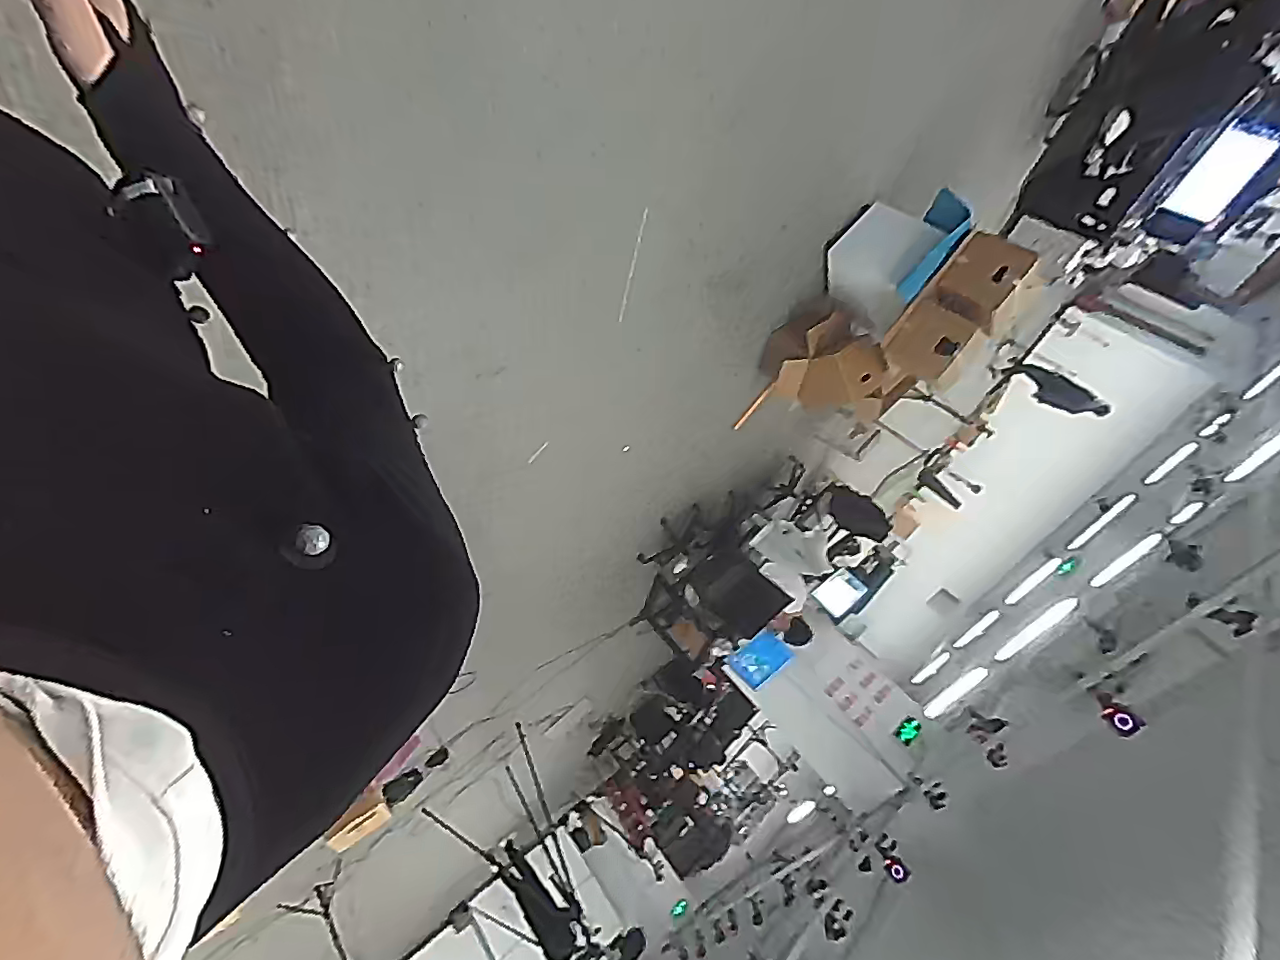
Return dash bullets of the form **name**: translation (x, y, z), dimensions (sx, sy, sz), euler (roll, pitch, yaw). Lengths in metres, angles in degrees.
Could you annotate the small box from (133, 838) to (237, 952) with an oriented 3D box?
- **small box**: translation (-1.230, 1.118, 1.465), dimensions (0.168, 0.176, 0.179), euler (-22, 144, -38)
